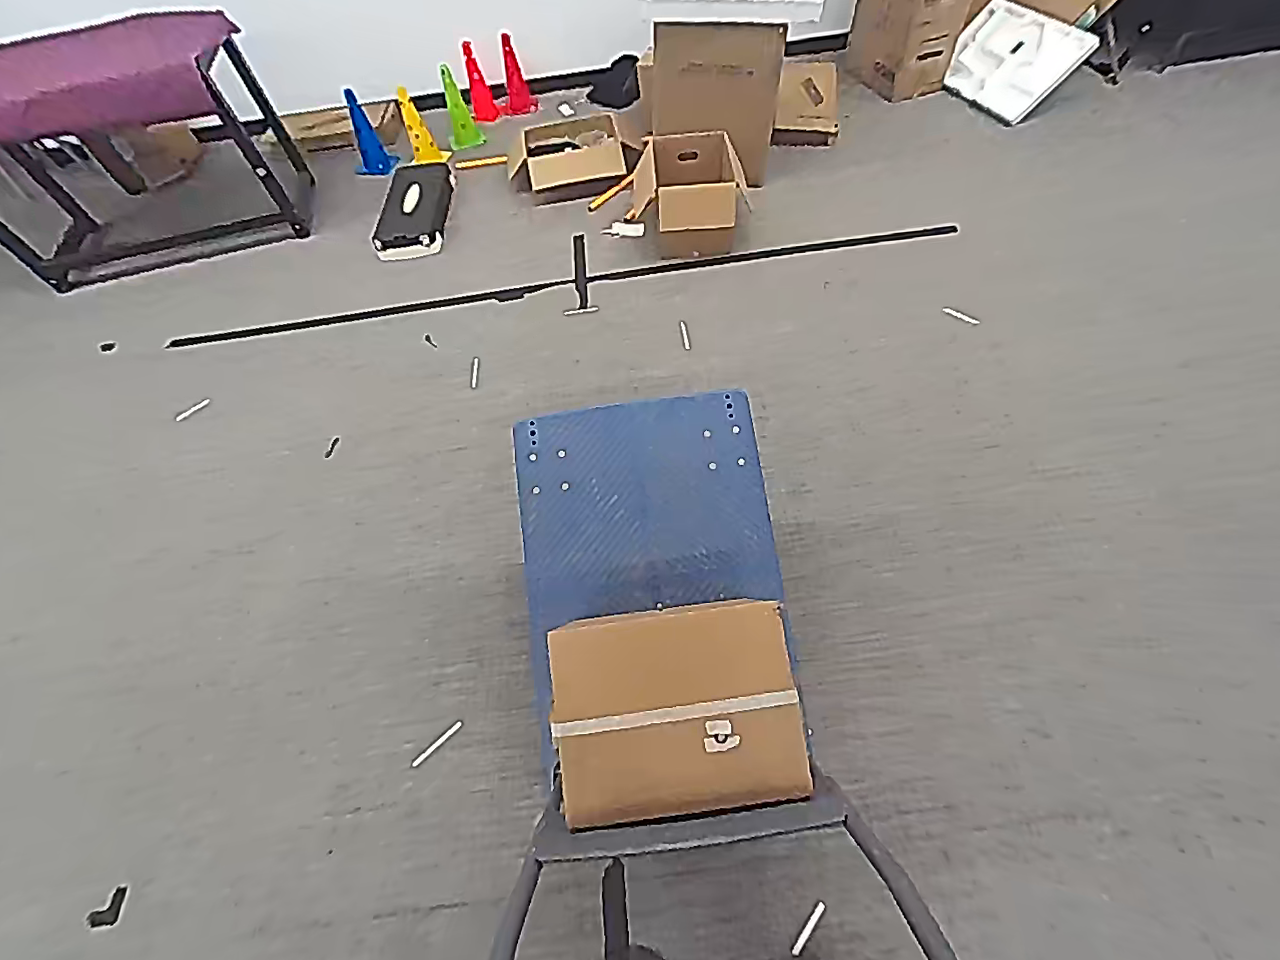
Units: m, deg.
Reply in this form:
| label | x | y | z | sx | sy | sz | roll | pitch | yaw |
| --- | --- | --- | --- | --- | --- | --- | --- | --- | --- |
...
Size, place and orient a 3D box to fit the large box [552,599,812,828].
| label | x | y | z | sx | sy | sz | roll | pitch | yaw |
| --- | --- | --- | --- | --- | --- | --- | --- | --- | --- |
| large box | 0.065 | 0.421 | 1.060 | 0.408 | 0.320 | 0.320 | -9 | 79 | -1 |
